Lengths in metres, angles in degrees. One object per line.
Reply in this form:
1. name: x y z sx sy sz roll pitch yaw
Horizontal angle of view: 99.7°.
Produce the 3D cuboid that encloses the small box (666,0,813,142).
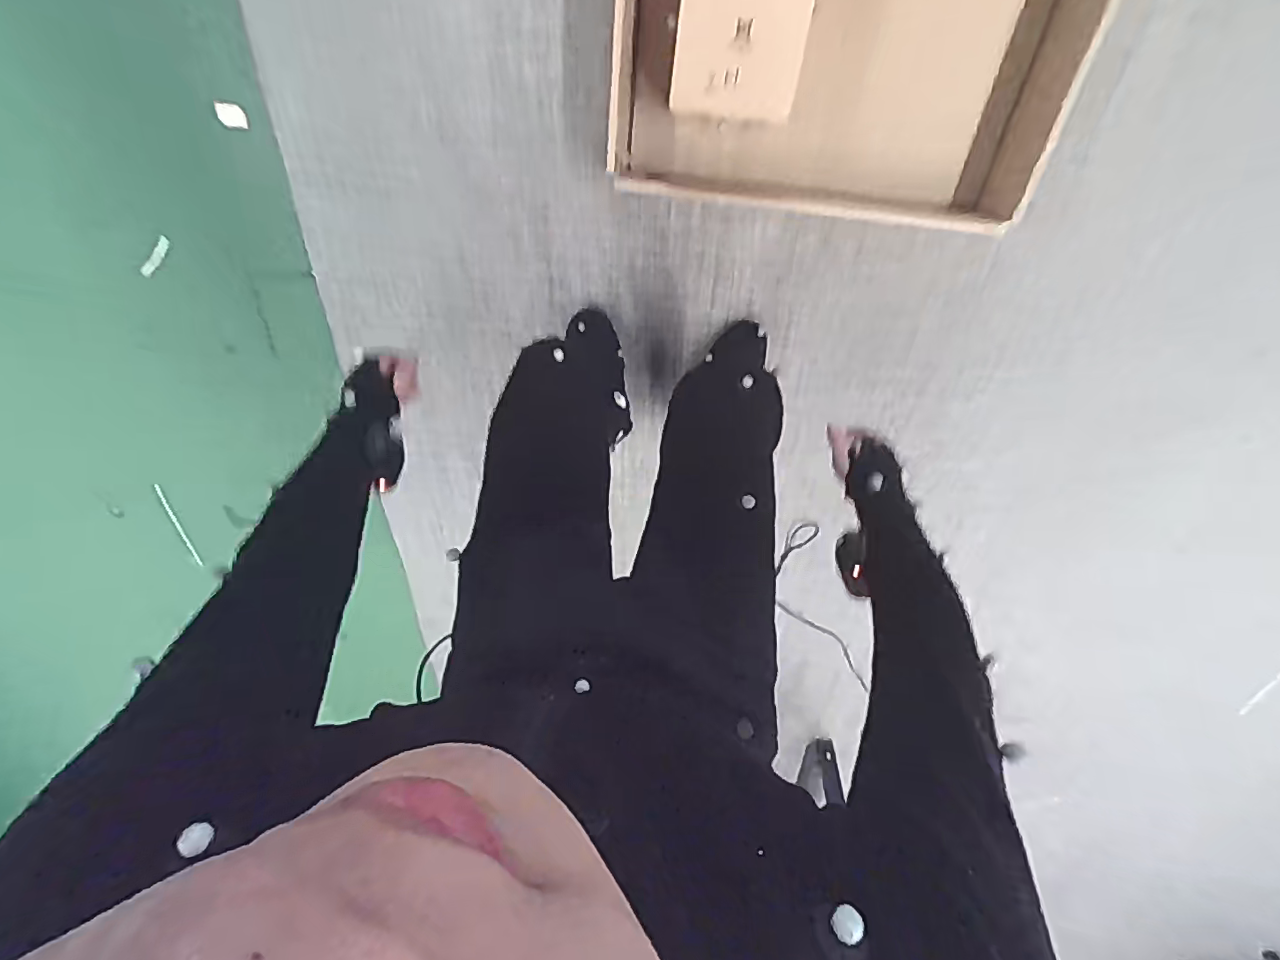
1. small box: 0.132 -0.592 0.765 0.168 0.176 0.179 8 122 1
